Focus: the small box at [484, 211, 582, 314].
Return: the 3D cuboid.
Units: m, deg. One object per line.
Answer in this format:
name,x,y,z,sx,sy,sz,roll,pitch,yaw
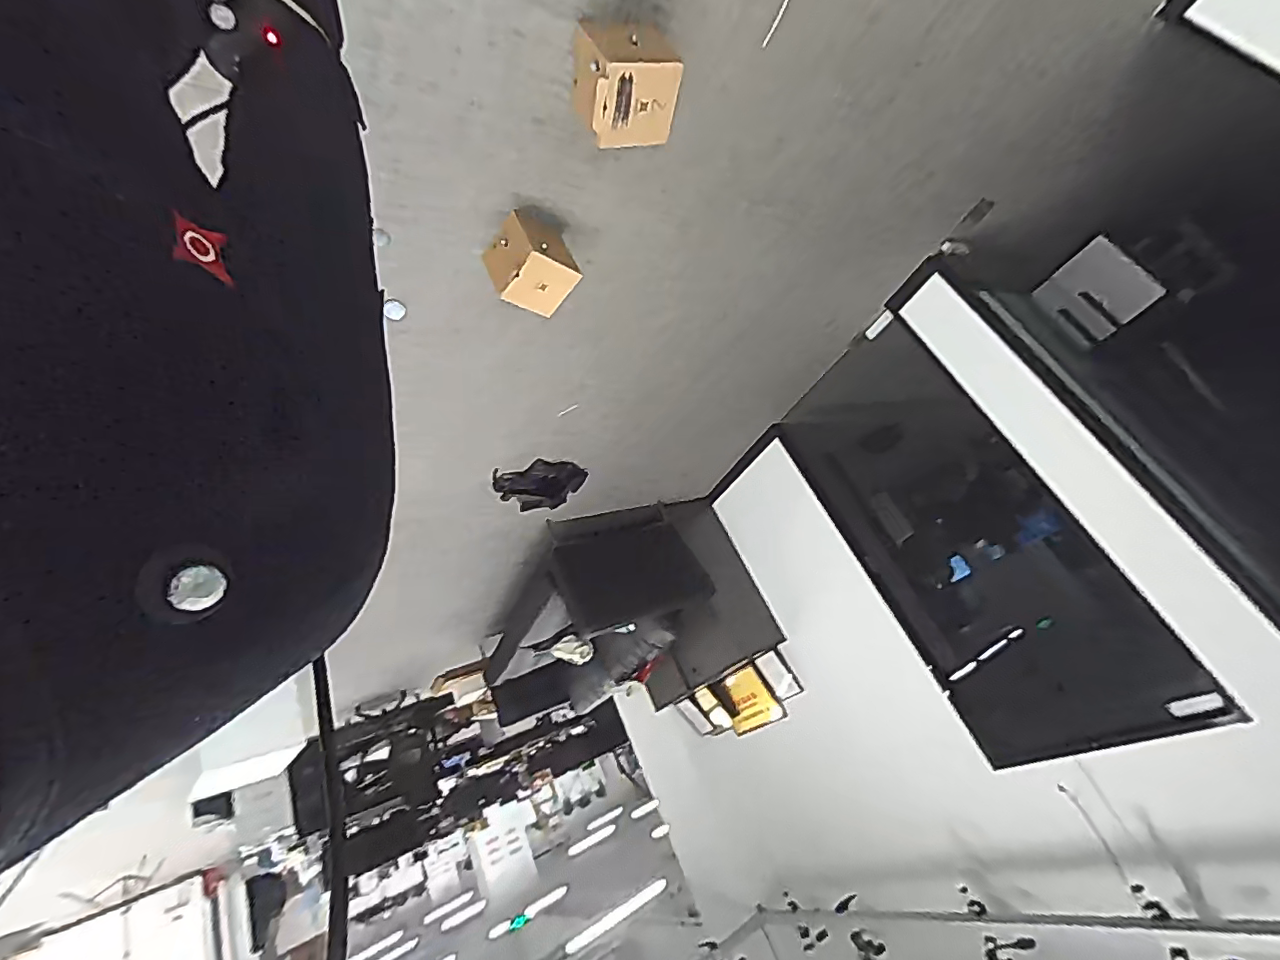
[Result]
small box,-0.295,-0.592,1.475,0.168,0.176,0.179,-40,153,30
